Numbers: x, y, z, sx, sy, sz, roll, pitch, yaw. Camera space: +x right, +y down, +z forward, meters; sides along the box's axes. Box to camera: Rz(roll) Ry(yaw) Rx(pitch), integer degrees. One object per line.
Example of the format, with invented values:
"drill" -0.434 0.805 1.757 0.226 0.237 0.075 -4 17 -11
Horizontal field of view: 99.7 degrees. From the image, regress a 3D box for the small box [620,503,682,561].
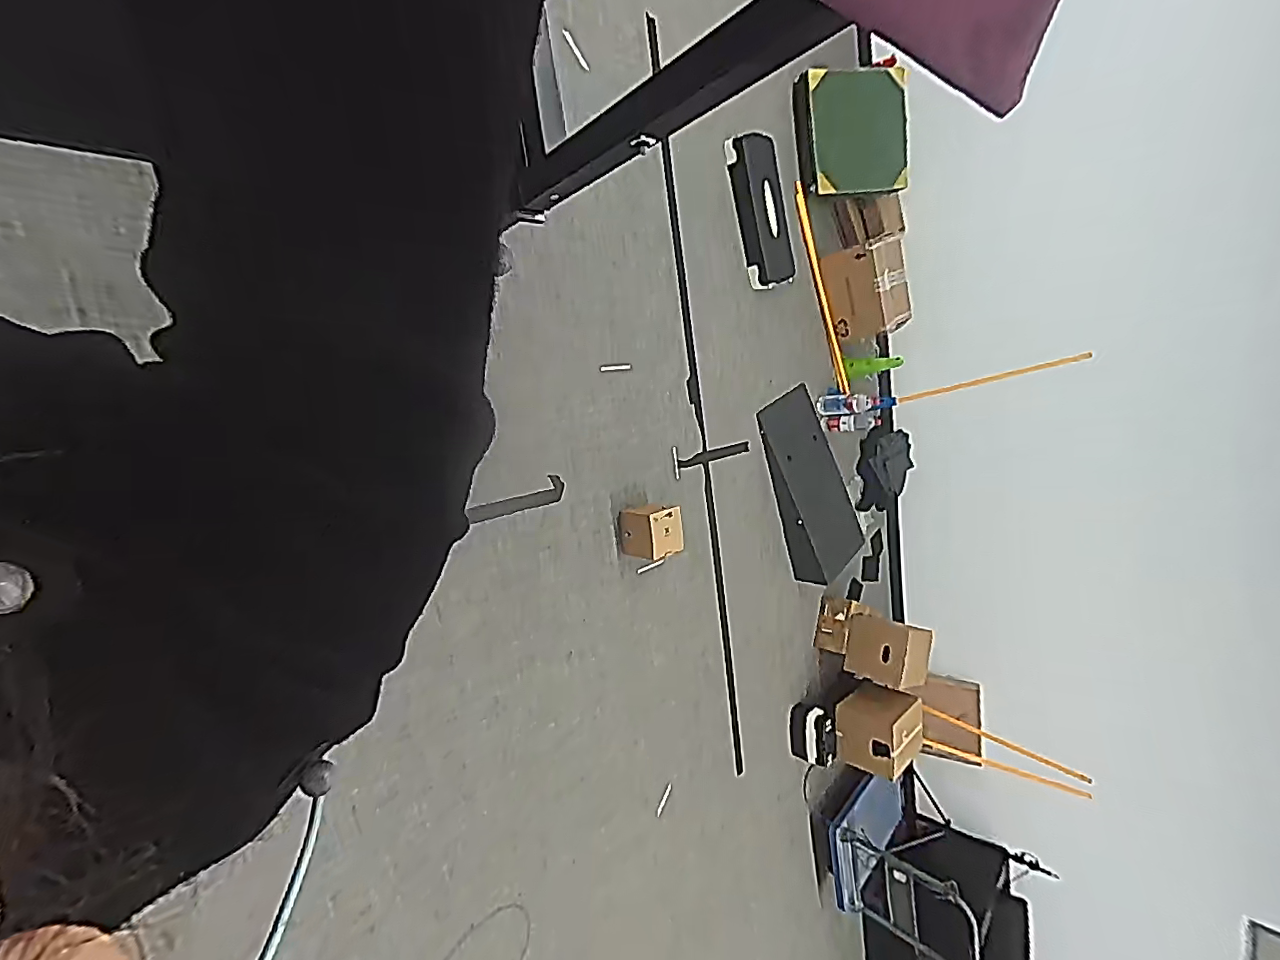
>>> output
"small box" 0.039 0.193 2.069 0.168 0.176 0.179 -13 102 -43
